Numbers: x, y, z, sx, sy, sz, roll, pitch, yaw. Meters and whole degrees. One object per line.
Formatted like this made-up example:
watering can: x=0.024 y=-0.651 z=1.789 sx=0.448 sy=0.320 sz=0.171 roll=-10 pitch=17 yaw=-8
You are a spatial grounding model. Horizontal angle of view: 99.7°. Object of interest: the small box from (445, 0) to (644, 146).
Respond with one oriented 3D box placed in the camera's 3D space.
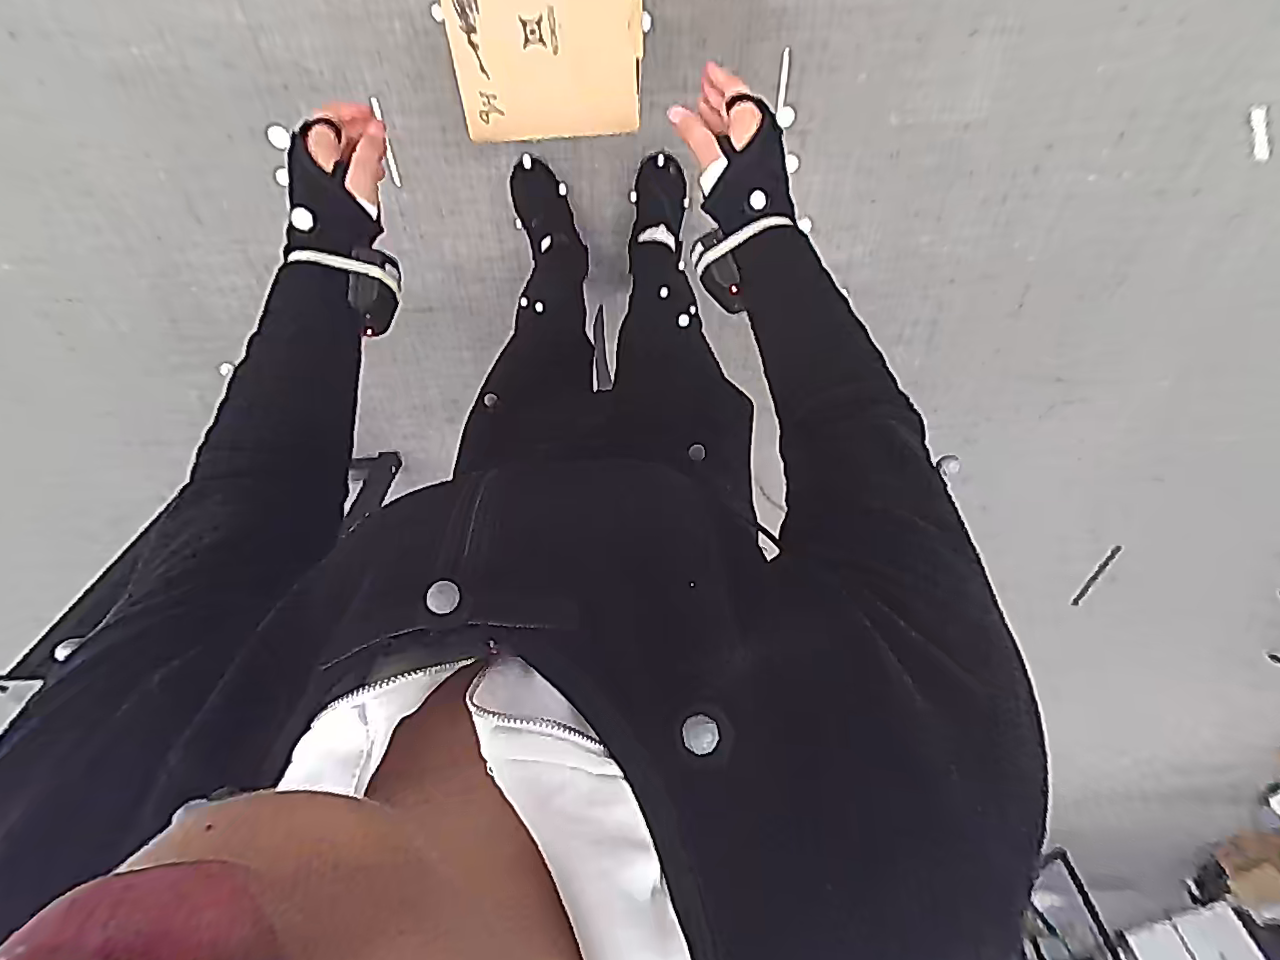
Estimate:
small box: x=-0.091 y=-0.460 z=0.559 sx=0.179 sy=0.176 sz=0.168 roll=-3 pitch=131 yaw=-1
